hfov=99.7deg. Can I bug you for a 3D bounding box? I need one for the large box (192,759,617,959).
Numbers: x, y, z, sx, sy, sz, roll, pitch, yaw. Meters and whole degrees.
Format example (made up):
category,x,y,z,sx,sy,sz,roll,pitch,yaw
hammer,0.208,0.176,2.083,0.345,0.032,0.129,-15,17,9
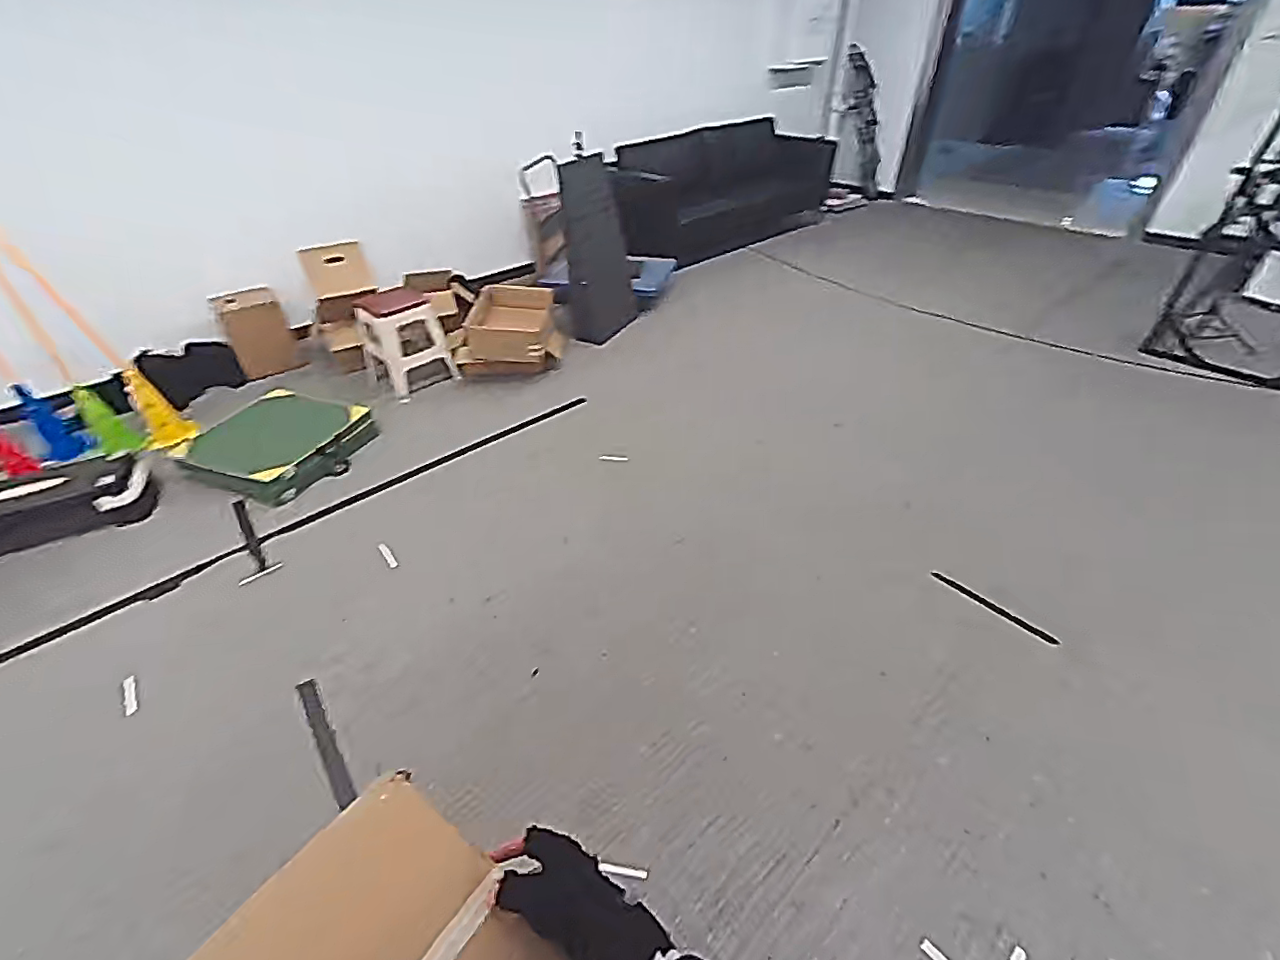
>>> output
category,x,y,z,sx,sy,sz,roll,pitch,yaw
large box,-0.252,0.566,0.472,0.320,0.320,0.408,30,44,22
